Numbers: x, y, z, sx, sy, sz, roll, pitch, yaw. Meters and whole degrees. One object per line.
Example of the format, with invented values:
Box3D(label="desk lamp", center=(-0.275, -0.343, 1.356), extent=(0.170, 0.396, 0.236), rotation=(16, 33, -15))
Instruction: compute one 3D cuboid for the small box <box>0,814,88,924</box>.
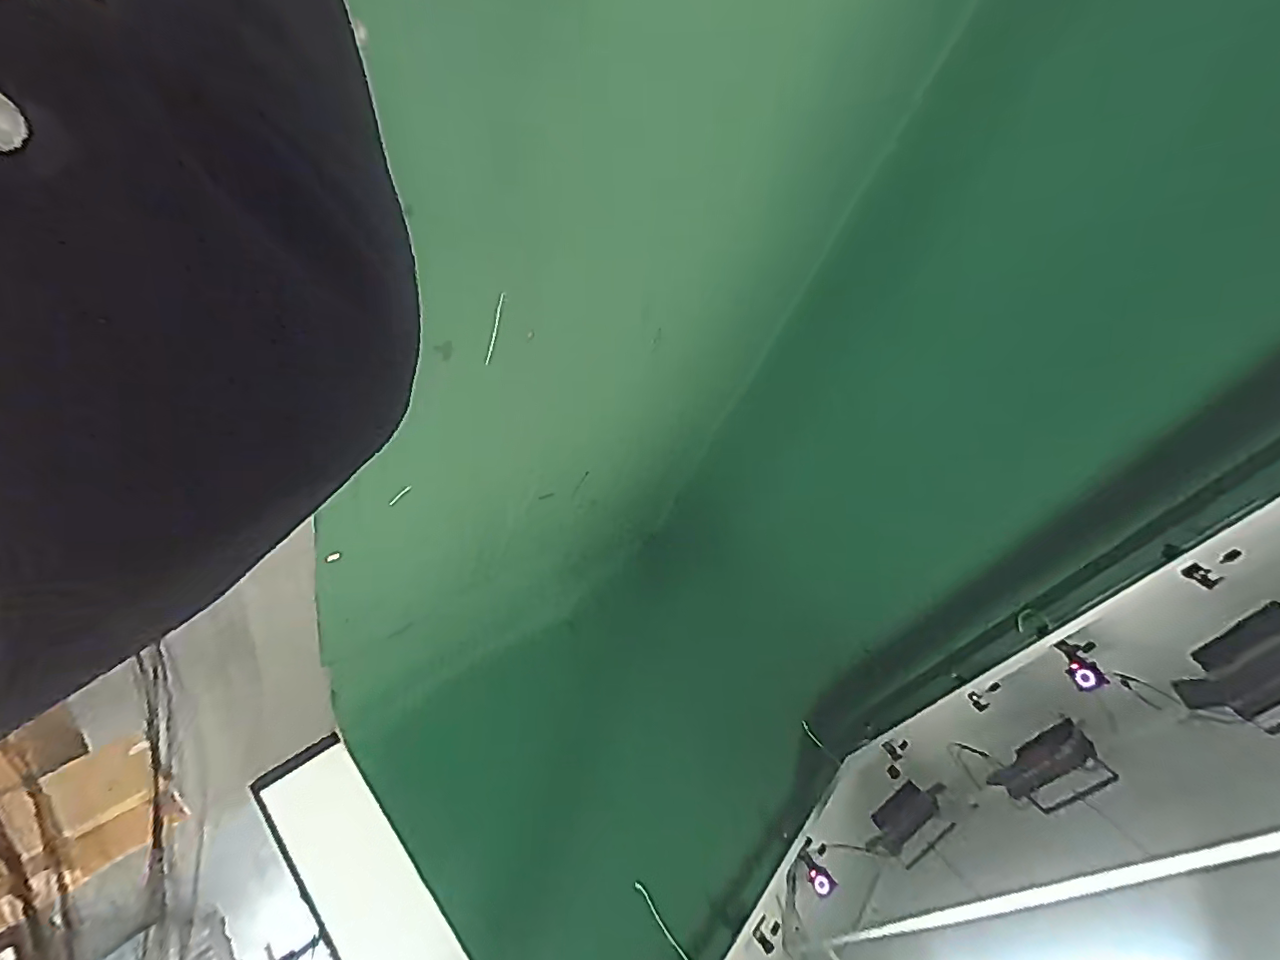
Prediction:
Box3D(label="small box", center=(-1.653, 1.040, 1.452), extent=(0.168, 0.176, 0.179), rotation=(-31, 155, -38))
